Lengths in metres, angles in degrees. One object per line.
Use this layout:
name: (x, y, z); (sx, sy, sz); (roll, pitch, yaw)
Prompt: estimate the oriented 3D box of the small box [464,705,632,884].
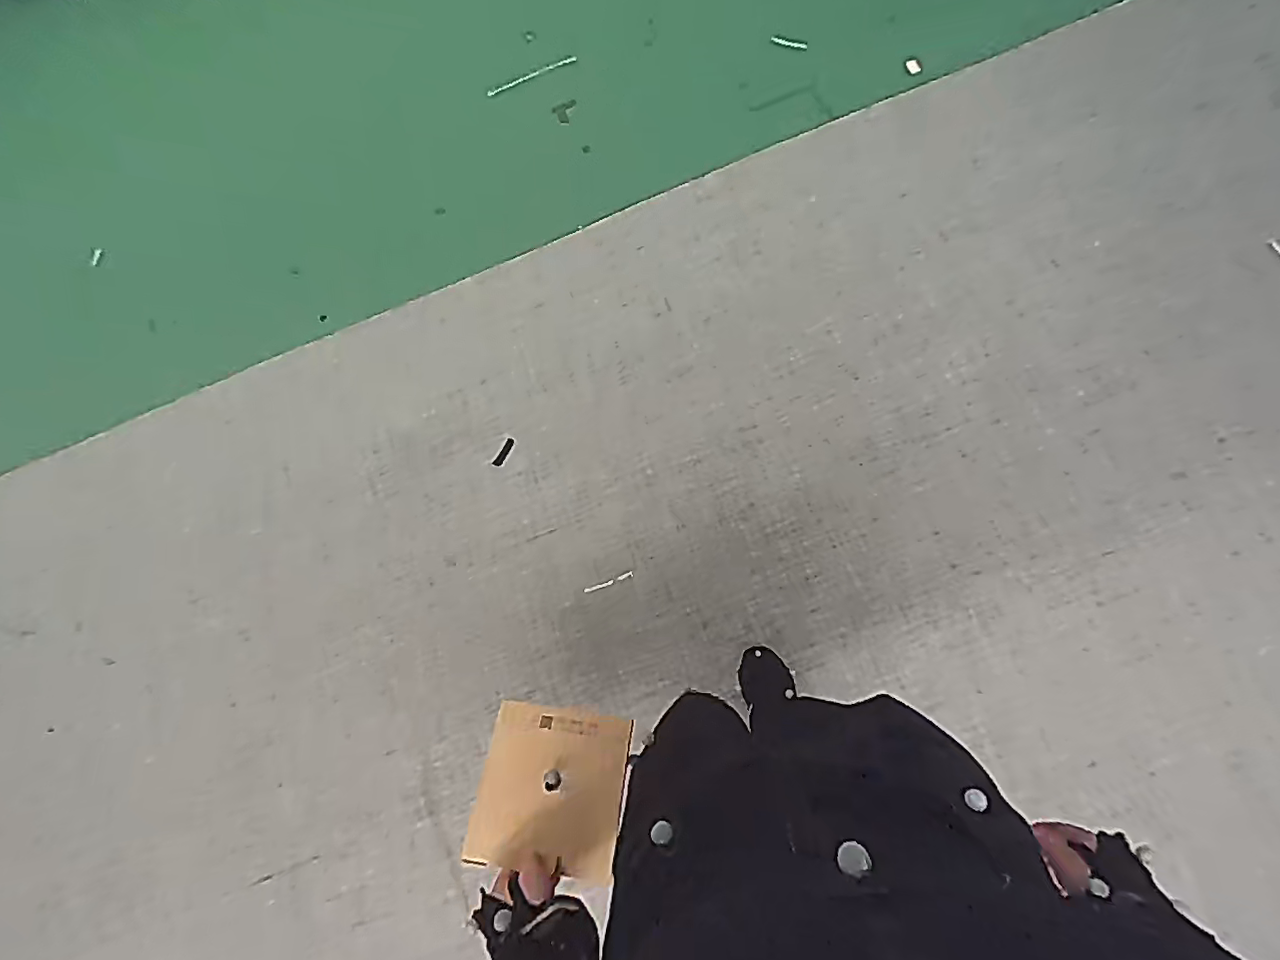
small box: (-0.104, 0.397, 0.691); (0.168, 0.179, 0.176); (8, 57, 2)
